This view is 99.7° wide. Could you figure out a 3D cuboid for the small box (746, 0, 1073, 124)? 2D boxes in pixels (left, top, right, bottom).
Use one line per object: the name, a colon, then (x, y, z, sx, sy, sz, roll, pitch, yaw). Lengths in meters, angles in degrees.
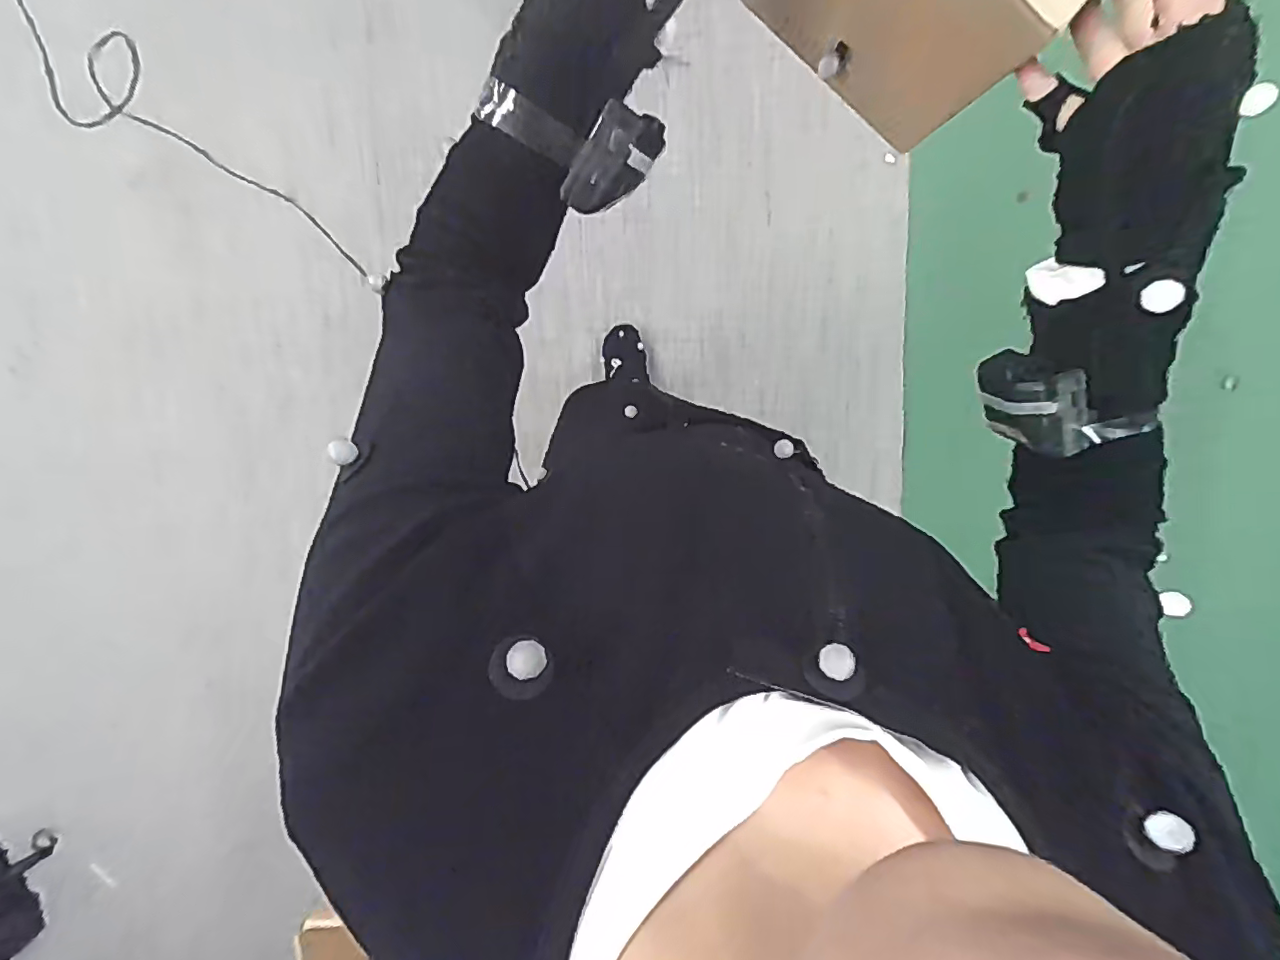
small box: (0.183, -0.354, 0.319, 0.179, 0.176, 0.168, 38, 99, -9)
